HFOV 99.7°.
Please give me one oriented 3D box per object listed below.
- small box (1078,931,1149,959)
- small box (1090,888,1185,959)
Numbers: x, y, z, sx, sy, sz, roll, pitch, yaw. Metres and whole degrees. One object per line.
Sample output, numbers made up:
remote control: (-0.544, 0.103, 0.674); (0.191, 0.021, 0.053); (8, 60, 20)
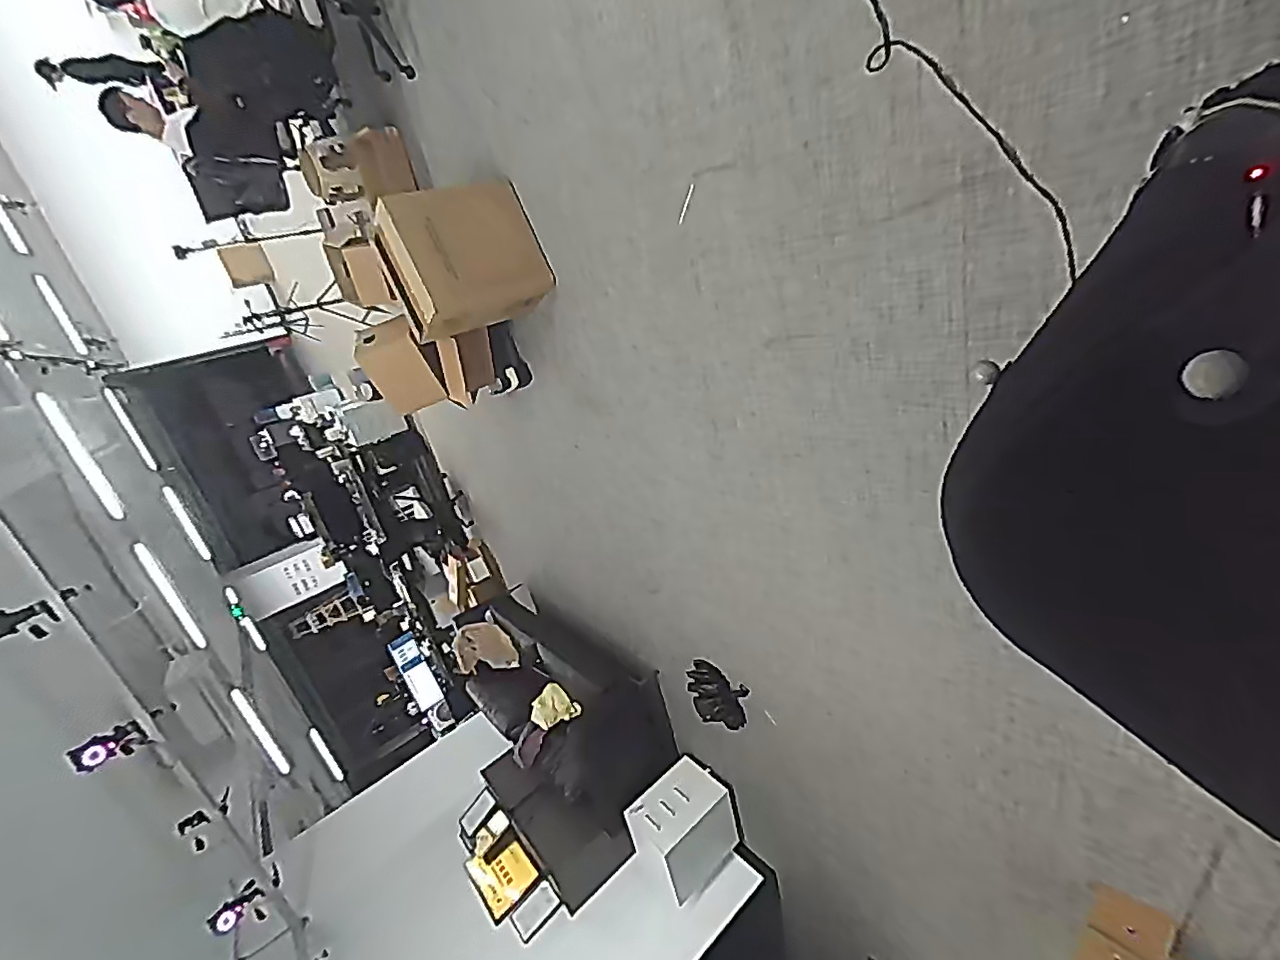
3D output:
small box: (1.332, 1.411, 1.500); (0.179, 0.176, 0.168); (16, 126, 51)
small box: (1.457, 1.356, 1.589); (0.179, 0.176, 0.168); (12, 123, 50)
